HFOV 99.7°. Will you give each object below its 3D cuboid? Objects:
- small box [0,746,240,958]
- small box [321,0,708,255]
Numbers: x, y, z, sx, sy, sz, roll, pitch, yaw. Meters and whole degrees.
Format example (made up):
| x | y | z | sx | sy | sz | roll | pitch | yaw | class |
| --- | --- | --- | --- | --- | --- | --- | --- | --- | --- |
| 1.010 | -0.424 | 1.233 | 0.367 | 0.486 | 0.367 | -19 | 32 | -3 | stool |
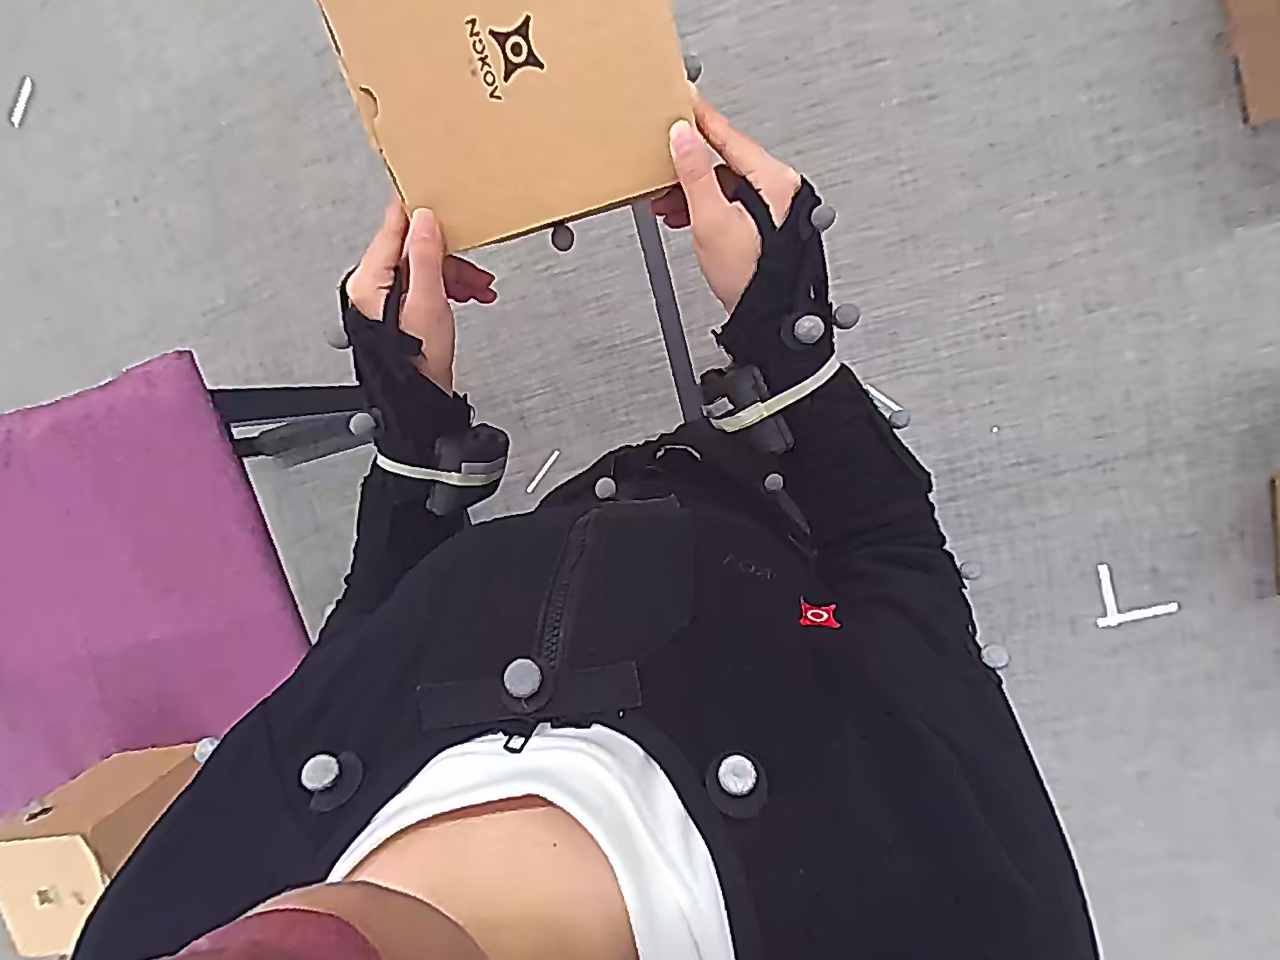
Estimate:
| x | y | z | sx | sy | sz | roll | pitch | yaw | class |
| --- | --- | --- | --- | --- | --- | --- | --- | --- | --- |
| -0.701 | 0.490 | 0.730 | 0.179 | 0.176 | 0.168 | -11 | 99 | 9 | small box |
| -0.064 | -0.260 | 0.350 | 0.179 | 0.176 | 0.168 | -13 | 116 | 9 | small box |
